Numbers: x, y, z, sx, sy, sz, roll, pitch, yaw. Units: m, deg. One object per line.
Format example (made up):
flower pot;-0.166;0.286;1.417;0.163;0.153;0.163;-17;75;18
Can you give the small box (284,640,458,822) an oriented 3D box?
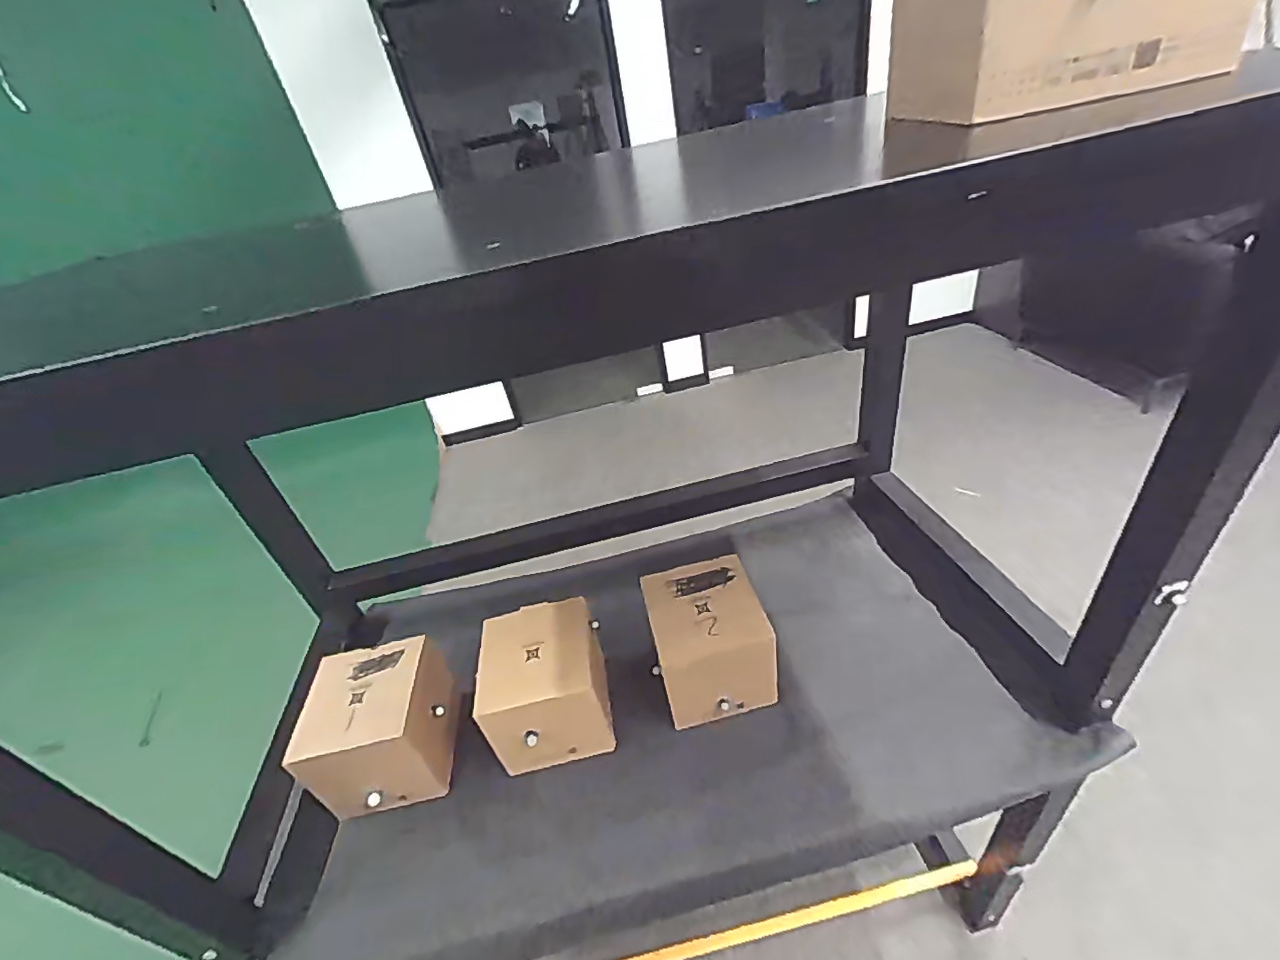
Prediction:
small box;-0.392;0.382;0.829;0.168;0.176;0.179;-13;35;-2

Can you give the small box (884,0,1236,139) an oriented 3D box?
small box;0.293;-0.361;0.394;0.168;0.176;0.179;-7;34;6

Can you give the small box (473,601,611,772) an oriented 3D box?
small box;-0.146;0.325;0.842;0.168;0.176;0.179;-13;34;-2
